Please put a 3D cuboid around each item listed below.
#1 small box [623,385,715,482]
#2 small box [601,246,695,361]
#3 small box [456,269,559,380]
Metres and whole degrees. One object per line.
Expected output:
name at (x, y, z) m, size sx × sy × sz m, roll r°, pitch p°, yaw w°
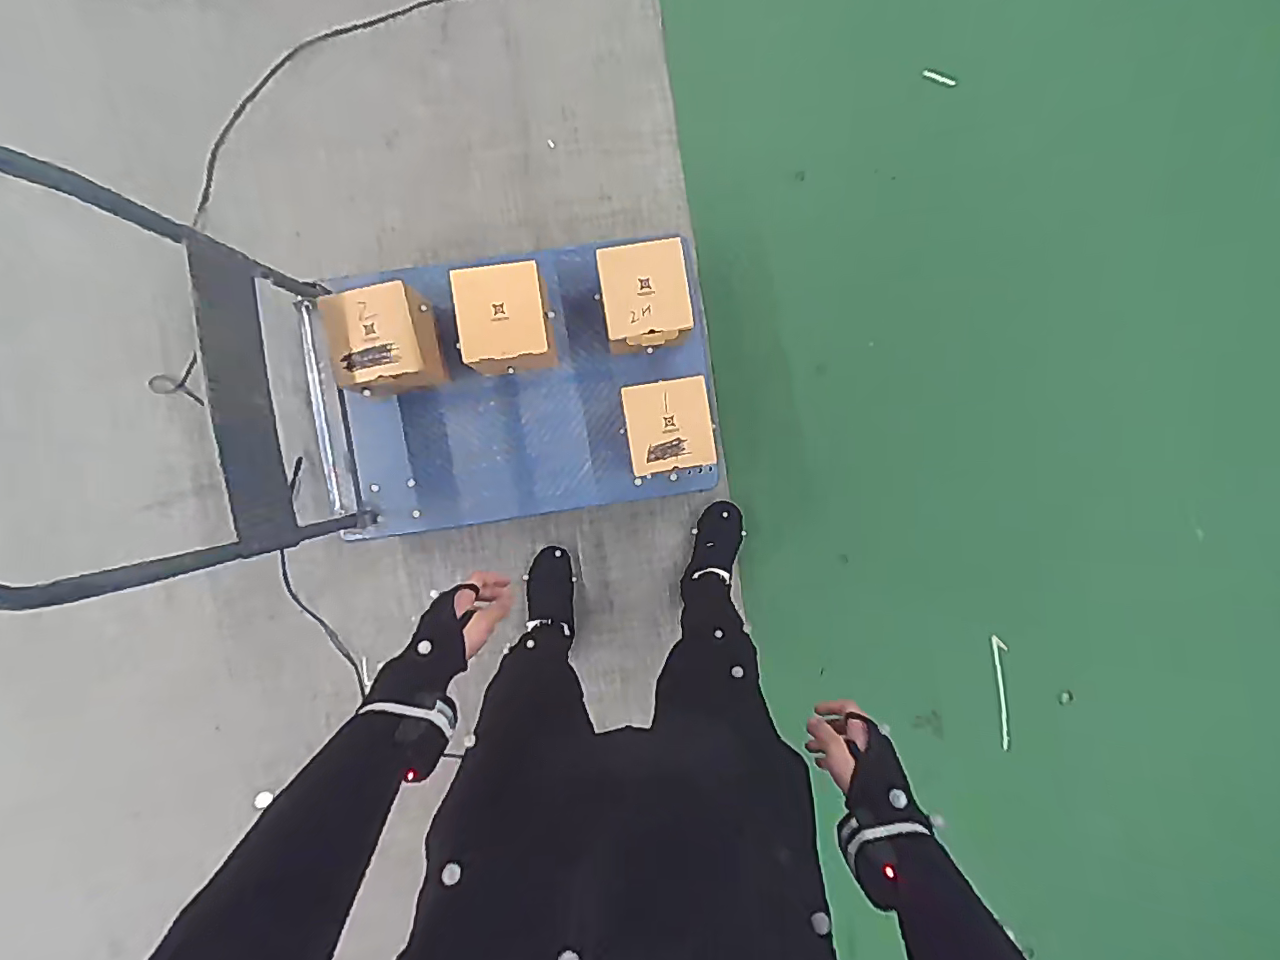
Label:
small box at (0.057, -0.095, 1.145) m, size 0.168 × 0.176 × 0.179 m, roll -9°, pitch 92°, yaw -2°
small box at (0.012, -0.356, 1.117) m, size 0.168 × 0.176 × 0.179 m, roll -8°, pitch 93°, yaw -1°
small box at (-0.265, -0.312, 1.112) m, size 0.168 × 0.176 × 0.179 m, roll -8°, pitch 94°, yaw -2°
